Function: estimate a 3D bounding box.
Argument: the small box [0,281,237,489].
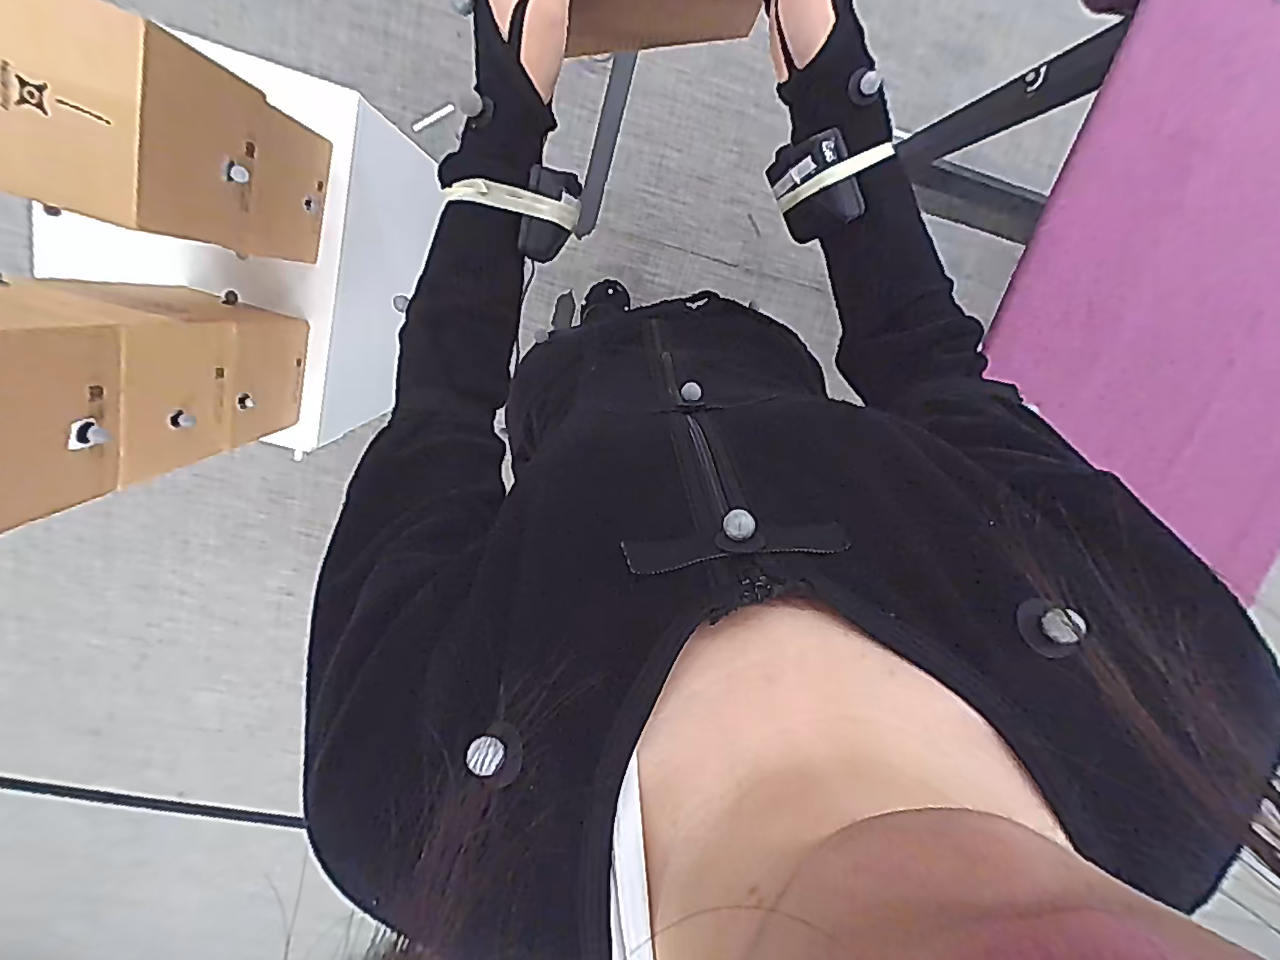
[{"bbox_3d":[-0.570,-0.108,0.573,0.179,0.176,0.168,14,106,-8],"label":"small box"}]

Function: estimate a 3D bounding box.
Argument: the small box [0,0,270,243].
[{"bbox_3d":[-0.493,-0.335,0.505,0.179,0.176,0.168,16,107,-10],"label":"small box"}]

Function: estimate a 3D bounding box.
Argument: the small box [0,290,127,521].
[{"bbox_3d":[-0.561,-0.062,0.417,0.179,0.176,0.168,13,107,-8],"label":"small box"}]

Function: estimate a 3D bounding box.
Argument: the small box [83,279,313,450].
[{"bbox_3d":[-0.582,-0.157,0.727,0.179,0.176,0.168,15,106,-7],"label":"small box"}]

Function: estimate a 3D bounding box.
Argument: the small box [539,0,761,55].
[{"bbox_3d":[0.007,-0.426,0.368,0.179,0.176,0.168,-6,109,1],"label":"small box"}]
